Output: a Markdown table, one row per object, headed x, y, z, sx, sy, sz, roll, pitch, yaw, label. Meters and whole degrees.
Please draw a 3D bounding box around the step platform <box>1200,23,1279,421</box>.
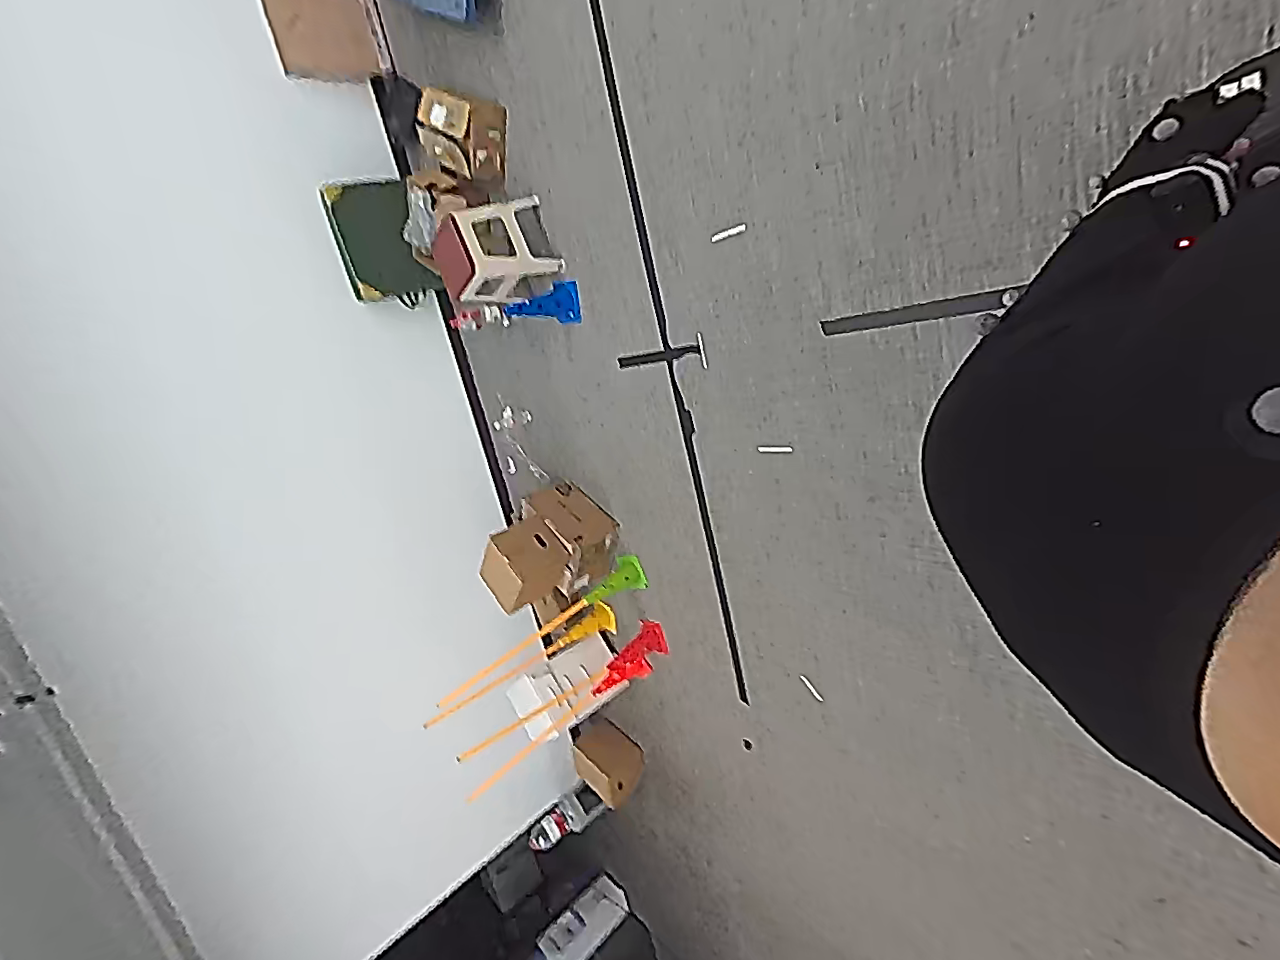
| x | y | z | sx | sy | sz | roll | pitch | yaw | label |
| --- | --- | --- | --- | --- | --- | --- | --- | --- | --- |
| 1.191 | -0.446 | 0.950 | 0.286 | 0.204 | 0.684 | 1 | 109 | 49 | step platform |
